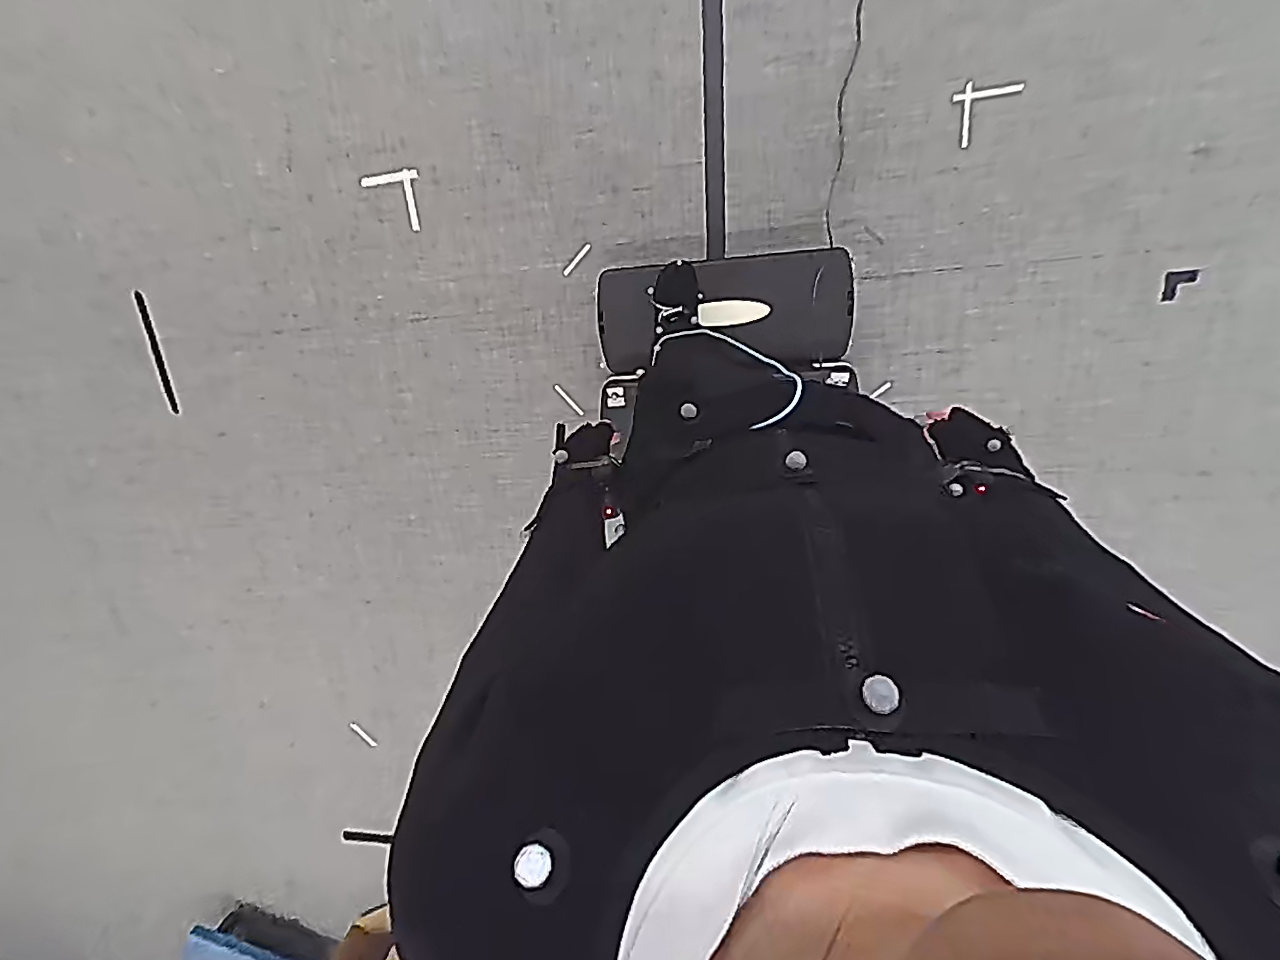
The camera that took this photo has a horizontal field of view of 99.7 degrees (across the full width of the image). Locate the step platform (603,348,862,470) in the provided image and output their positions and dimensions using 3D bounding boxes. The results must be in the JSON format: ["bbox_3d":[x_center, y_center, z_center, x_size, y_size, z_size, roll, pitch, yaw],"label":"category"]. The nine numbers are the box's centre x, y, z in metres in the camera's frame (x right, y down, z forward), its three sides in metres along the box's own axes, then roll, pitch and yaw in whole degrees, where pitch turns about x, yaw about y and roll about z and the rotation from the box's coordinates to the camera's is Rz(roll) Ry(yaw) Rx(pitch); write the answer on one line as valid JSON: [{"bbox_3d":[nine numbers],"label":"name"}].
[{"bbox_3d":[0.242,-0.189,1.484,0.684,0.204,0.286,-3,105,10],"label":"step platform"}]
